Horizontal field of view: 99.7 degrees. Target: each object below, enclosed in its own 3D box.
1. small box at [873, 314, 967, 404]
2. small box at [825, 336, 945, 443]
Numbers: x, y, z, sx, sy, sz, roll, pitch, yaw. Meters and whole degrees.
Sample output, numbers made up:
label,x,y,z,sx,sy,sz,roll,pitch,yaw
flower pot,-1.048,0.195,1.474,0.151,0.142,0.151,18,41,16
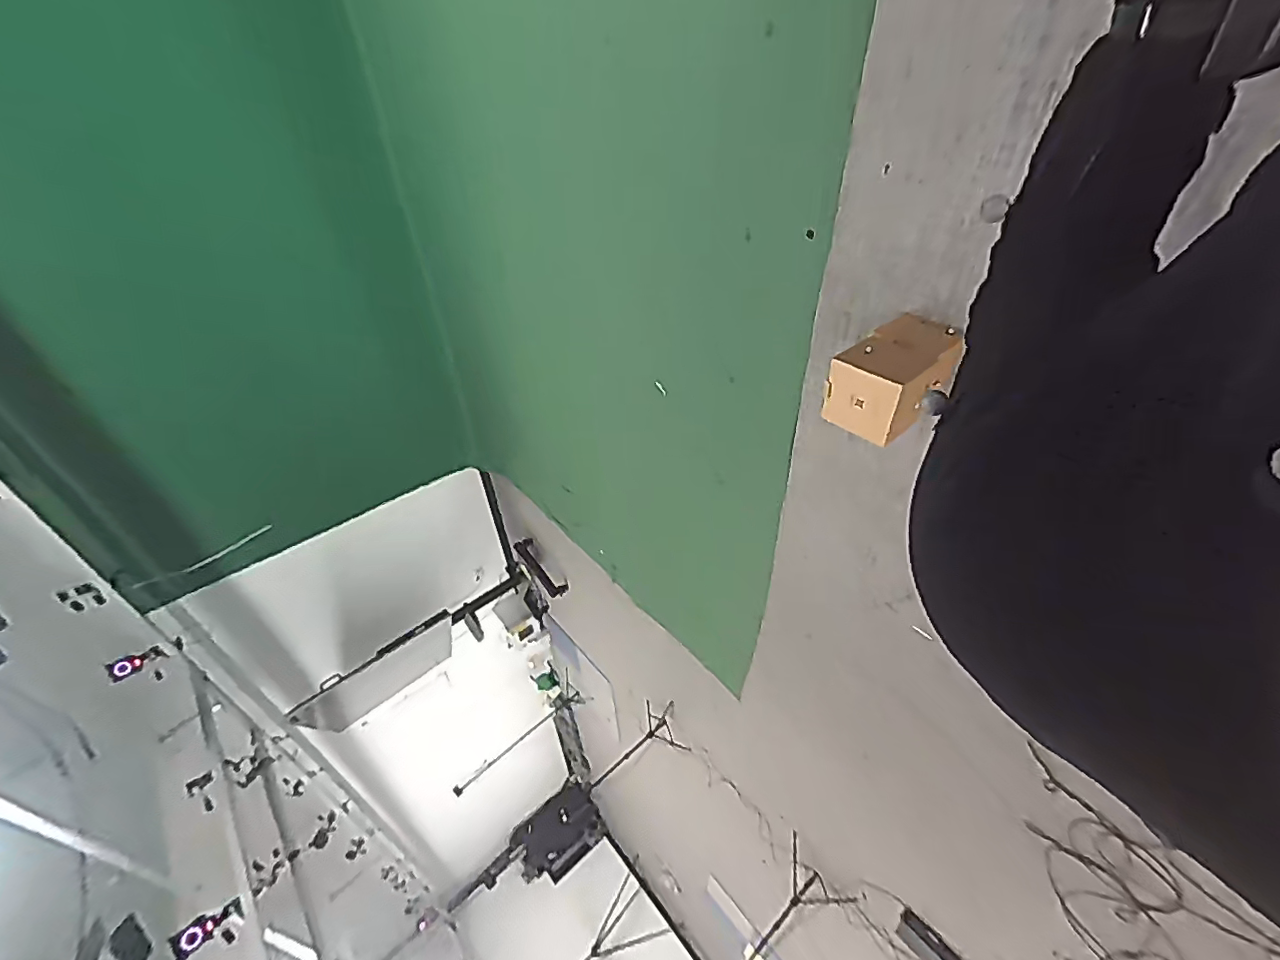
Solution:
label,x,y,z,sx,sy,sz,roll,pitch,yaw
small box,0.682,-0.294,1.354,0.168,0.176,0.179,38,145,35
small box,0.568,-0.220,1.265,0.179,0.176,0.168,35,144,37
